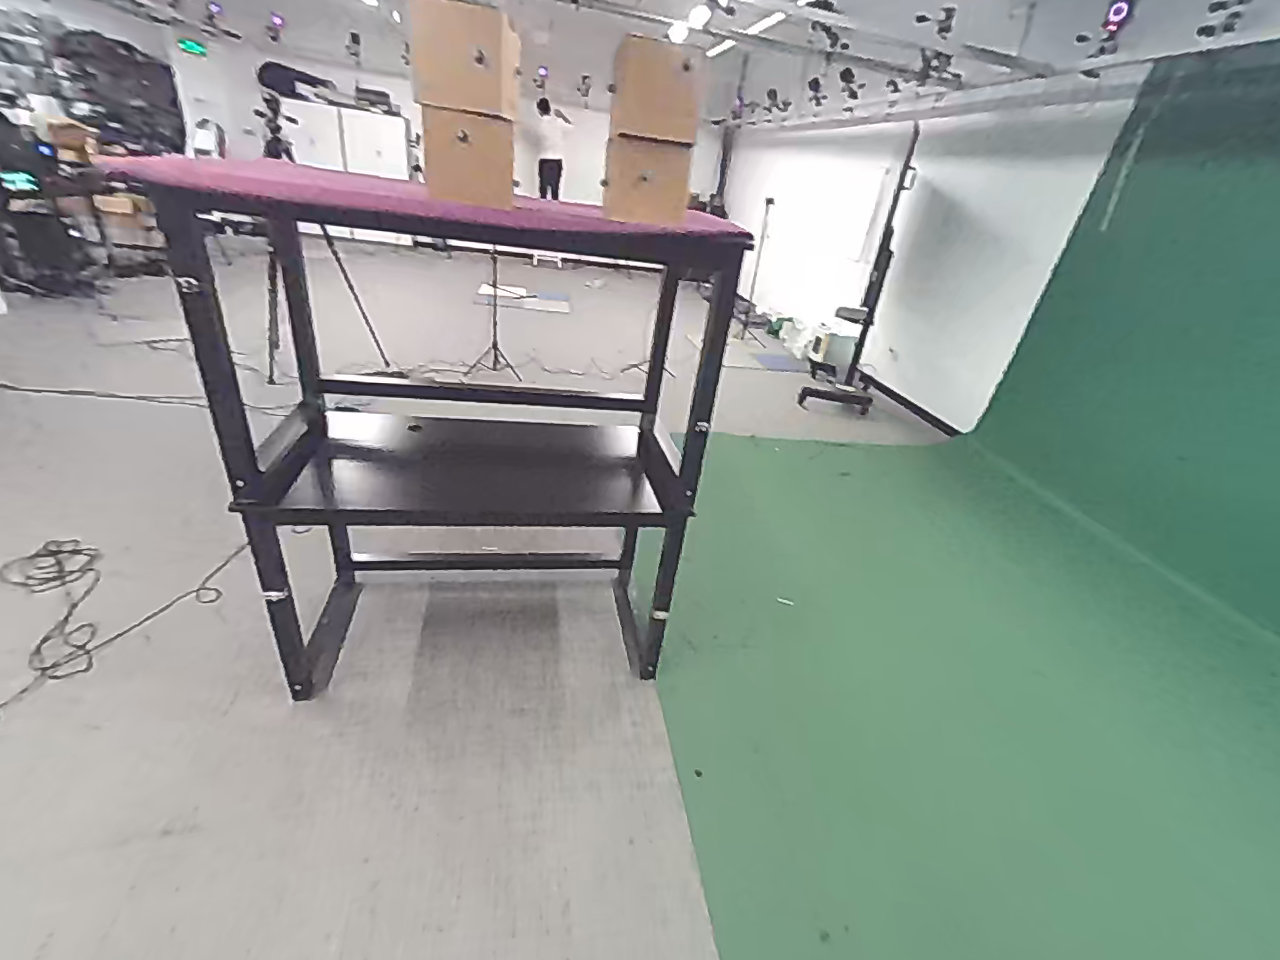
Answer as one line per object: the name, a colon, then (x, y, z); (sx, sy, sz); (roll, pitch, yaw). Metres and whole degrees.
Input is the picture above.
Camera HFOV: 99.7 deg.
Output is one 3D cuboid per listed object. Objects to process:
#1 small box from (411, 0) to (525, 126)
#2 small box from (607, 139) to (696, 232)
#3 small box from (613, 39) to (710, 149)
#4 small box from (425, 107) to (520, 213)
small box: (-0.334, -0.819, 1.082); (0.179, 0.176, 0.168); (6, 28, -3)
small box: (0.017, -0.675, 1.252); (0.179, 0.176, 0.168); (0, 28, -11)
small box: (0.037, -0.813, 1.167); (0.179, 0.176, 0.168); (1, 27, -12)
small box: (-0.352, -0.679, 1.161); (0.179, 0.176, 0.168); (3, 30, -12)
